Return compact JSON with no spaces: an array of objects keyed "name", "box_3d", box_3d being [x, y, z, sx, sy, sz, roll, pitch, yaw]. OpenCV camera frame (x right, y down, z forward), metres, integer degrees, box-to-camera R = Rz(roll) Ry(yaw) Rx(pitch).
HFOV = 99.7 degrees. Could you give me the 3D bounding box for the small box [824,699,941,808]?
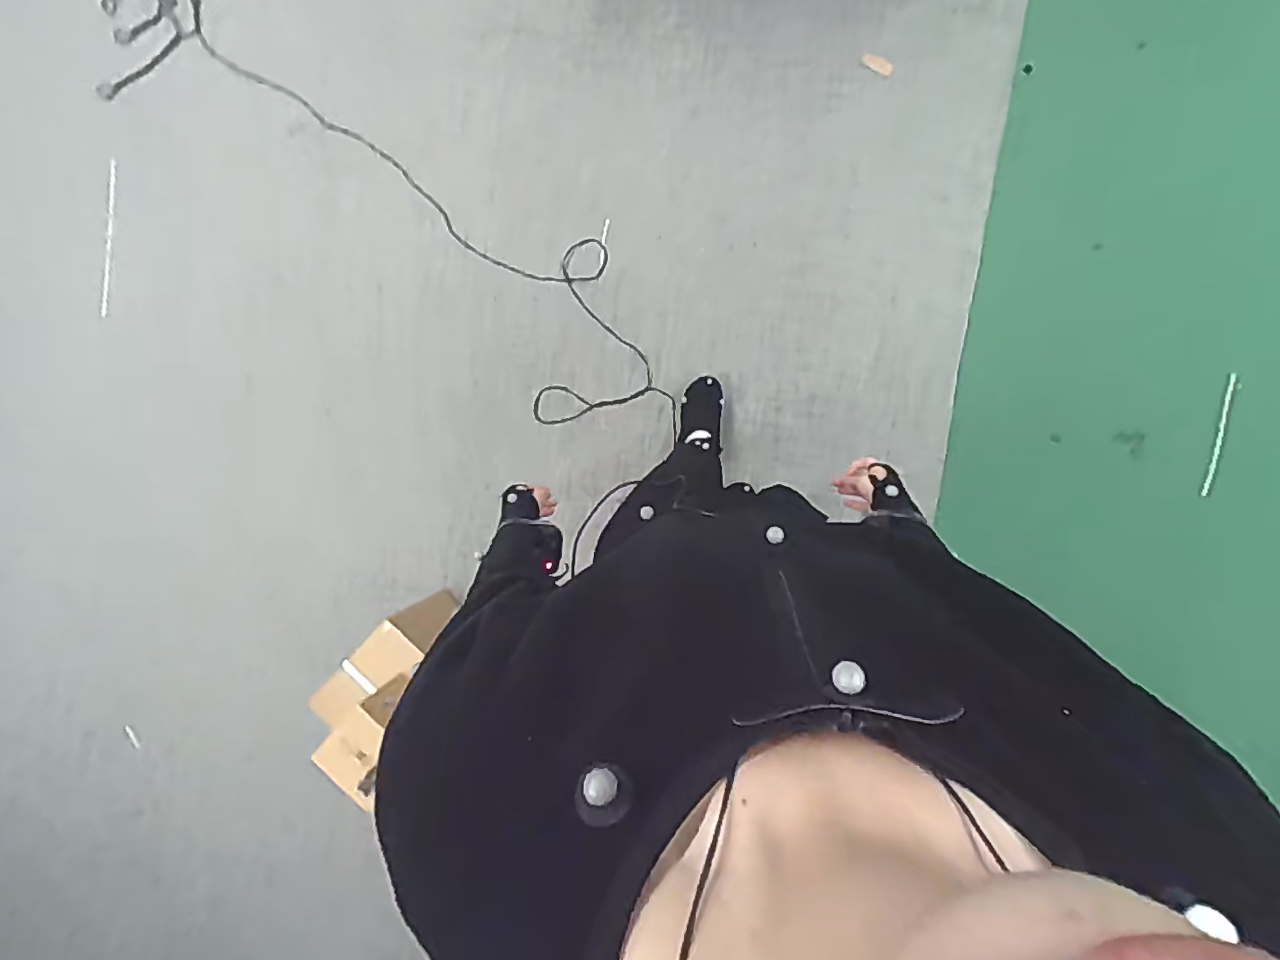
[{"name":"small box","box_3d":[0.485,0.562,1.102,0.179,0.176,0.168,-1,91,6]}]
